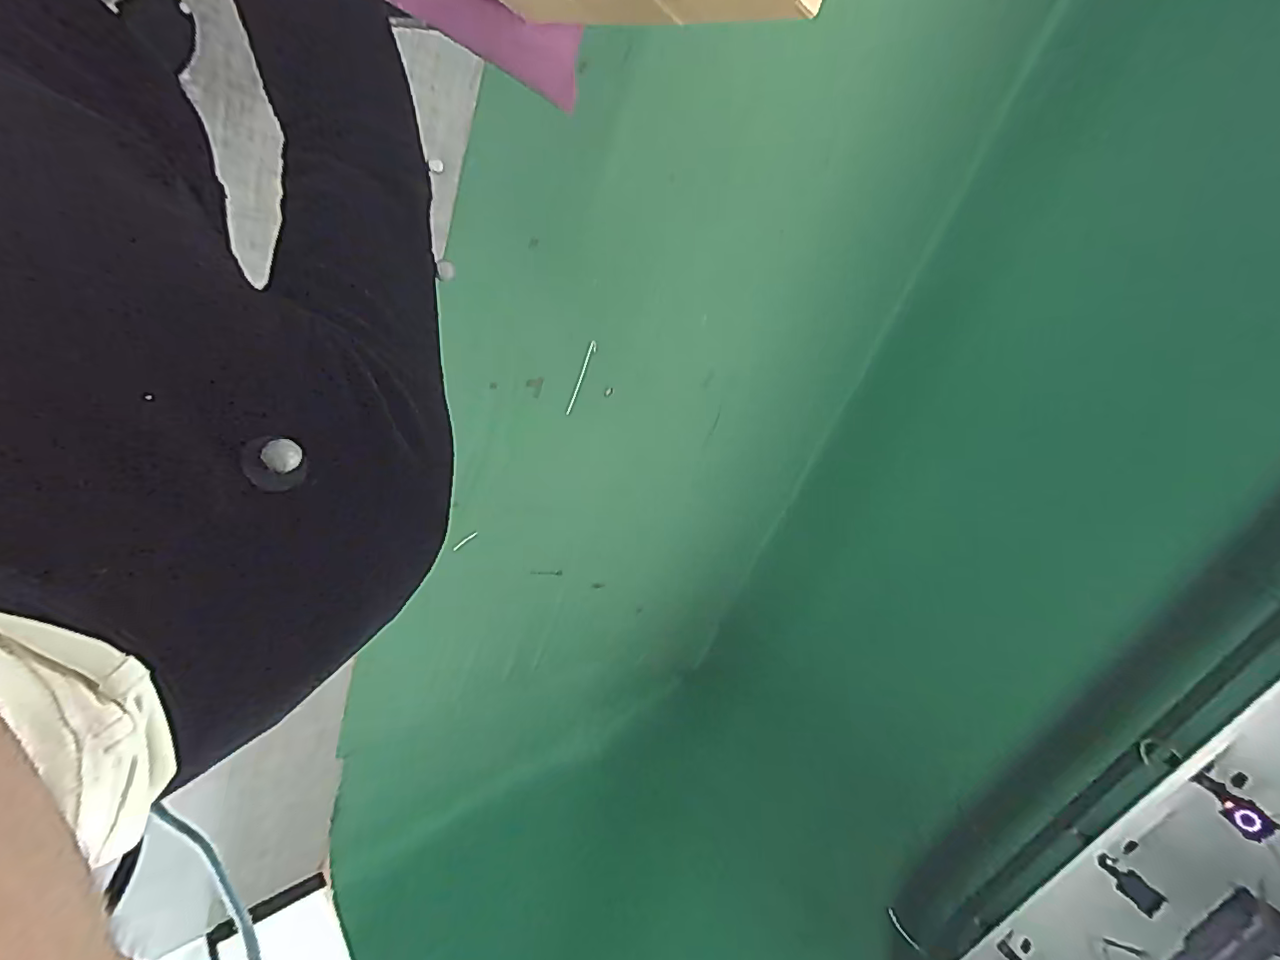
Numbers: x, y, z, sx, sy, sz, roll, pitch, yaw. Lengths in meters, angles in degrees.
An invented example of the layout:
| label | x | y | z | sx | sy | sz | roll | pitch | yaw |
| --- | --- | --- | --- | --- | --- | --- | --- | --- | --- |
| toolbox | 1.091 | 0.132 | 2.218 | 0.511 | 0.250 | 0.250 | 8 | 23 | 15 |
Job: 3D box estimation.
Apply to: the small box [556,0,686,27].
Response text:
| label | x | y | z | sx | sy | sz | roll | pitch | yaw |
| --- | --- | --- | --- | --- | --- | --- | --- | --- | --- |
| small box | -0.035 | -0.599 | 0.536 | 0.168 | 0.176 | 0.179 | 2 | 119 | -47 |

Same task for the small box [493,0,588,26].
| label | x | y | z | sx | sy | sz | roll | pitch | yaw |
| --- | --- | --- | --- | --- | --- | --- | --- | --- | --- |
| small box | -0.143 | -0.679 | 0.631 | 0.179 | 0.176 | 0.168 | 1 | 119 | -47 |
